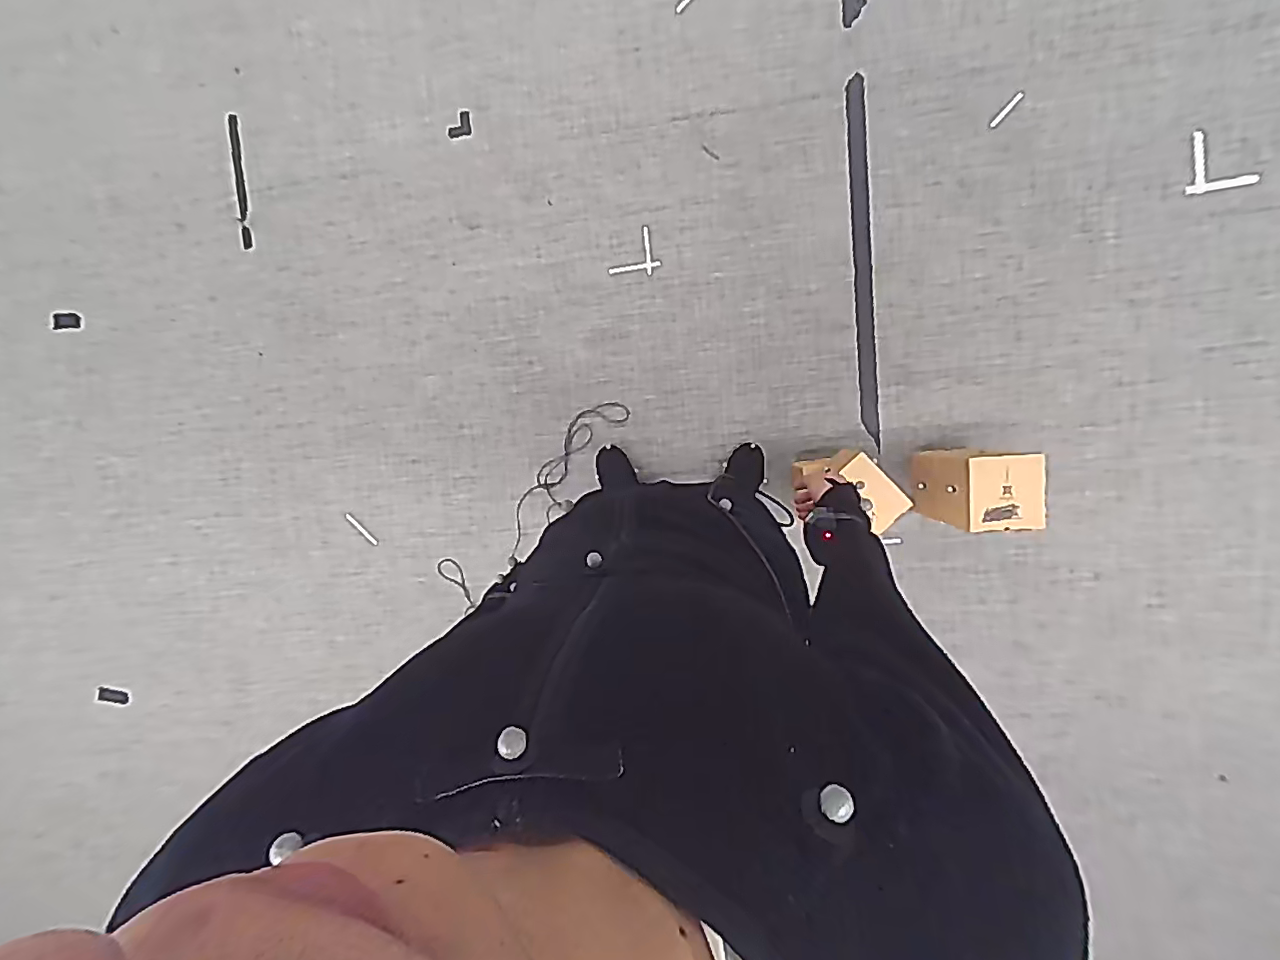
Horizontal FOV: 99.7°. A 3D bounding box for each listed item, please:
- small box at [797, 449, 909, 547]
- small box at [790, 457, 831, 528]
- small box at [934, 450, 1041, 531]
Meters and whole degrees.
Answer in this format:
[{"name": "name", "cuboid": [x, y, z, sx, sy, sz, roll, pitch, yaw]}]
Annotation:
[{"name": "small box", "cuboid": [0.519, 0.038, 1.349, 0.168, 0.176, 0.179, -44, 91, 8]}, {"name": "small box", "cuboid": [0.523, 0.027, 1.513, 0.168, 0.176, 0.179, -7, 95, 6]}, {"name": "small box", "cuboid": [0.835, 0.021, 1.314, 0.168, 0.176, 0.179, -3, 94, 5]}]
